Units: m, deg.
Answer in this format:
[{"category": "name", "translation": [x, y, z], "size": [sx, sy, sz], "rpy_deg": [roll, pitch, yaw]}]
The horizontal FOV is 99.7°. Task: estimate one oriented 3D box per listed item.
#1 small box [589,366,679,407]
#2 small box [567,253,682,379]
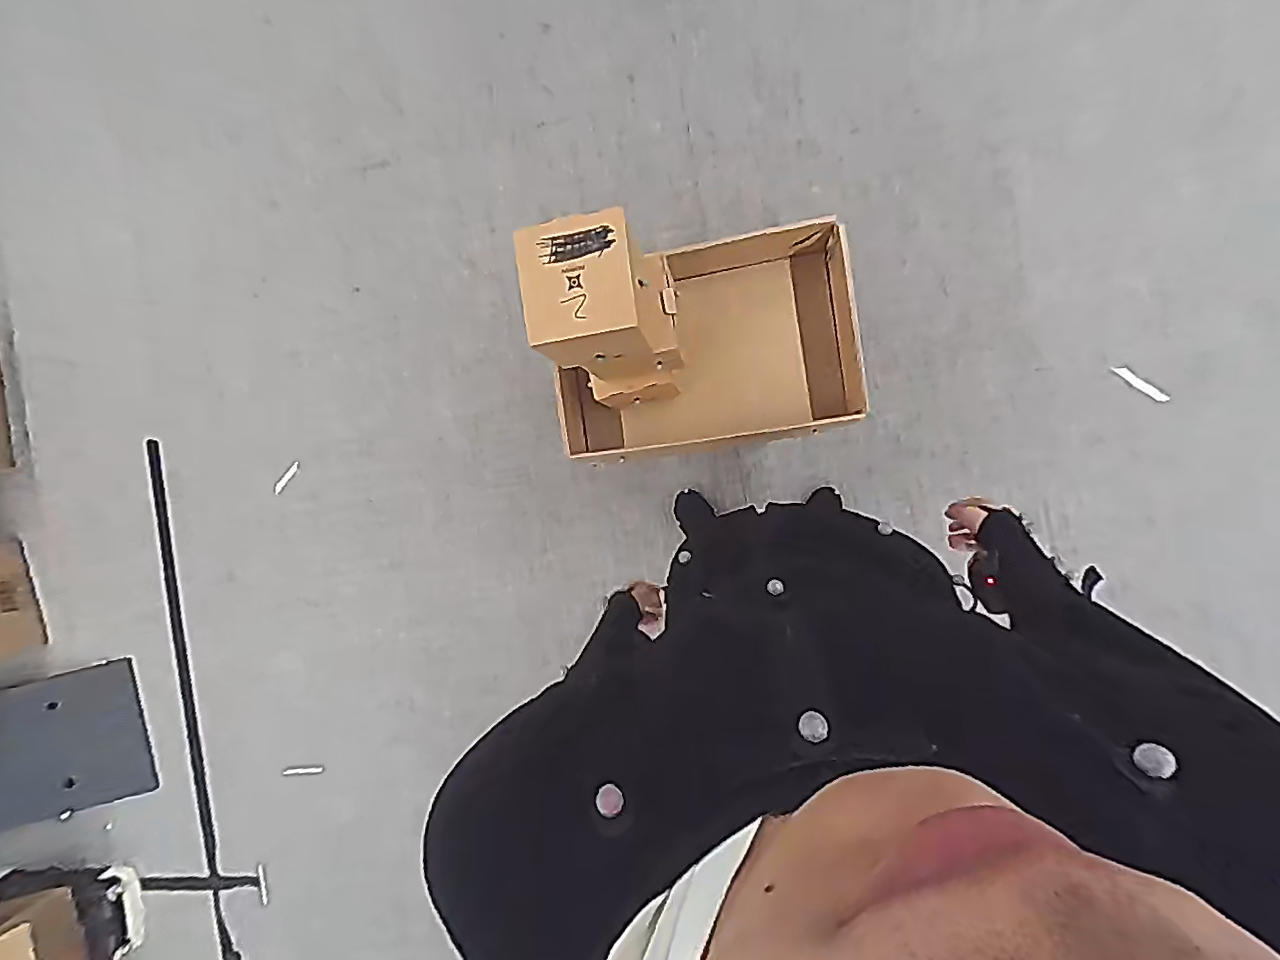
[{"category": "small box", "translation": [-0.019, -0.267, 1.162], "size": [0.168, 0.176, 0.179], "rpy_deg": [-13, 89, 10]}, {"category": "small box", "translation": [-0.019, -0.291, 0.996], "size": [0.179, 0.176, 0.168], "rpy_deg": [-8, 89, 10]}]
